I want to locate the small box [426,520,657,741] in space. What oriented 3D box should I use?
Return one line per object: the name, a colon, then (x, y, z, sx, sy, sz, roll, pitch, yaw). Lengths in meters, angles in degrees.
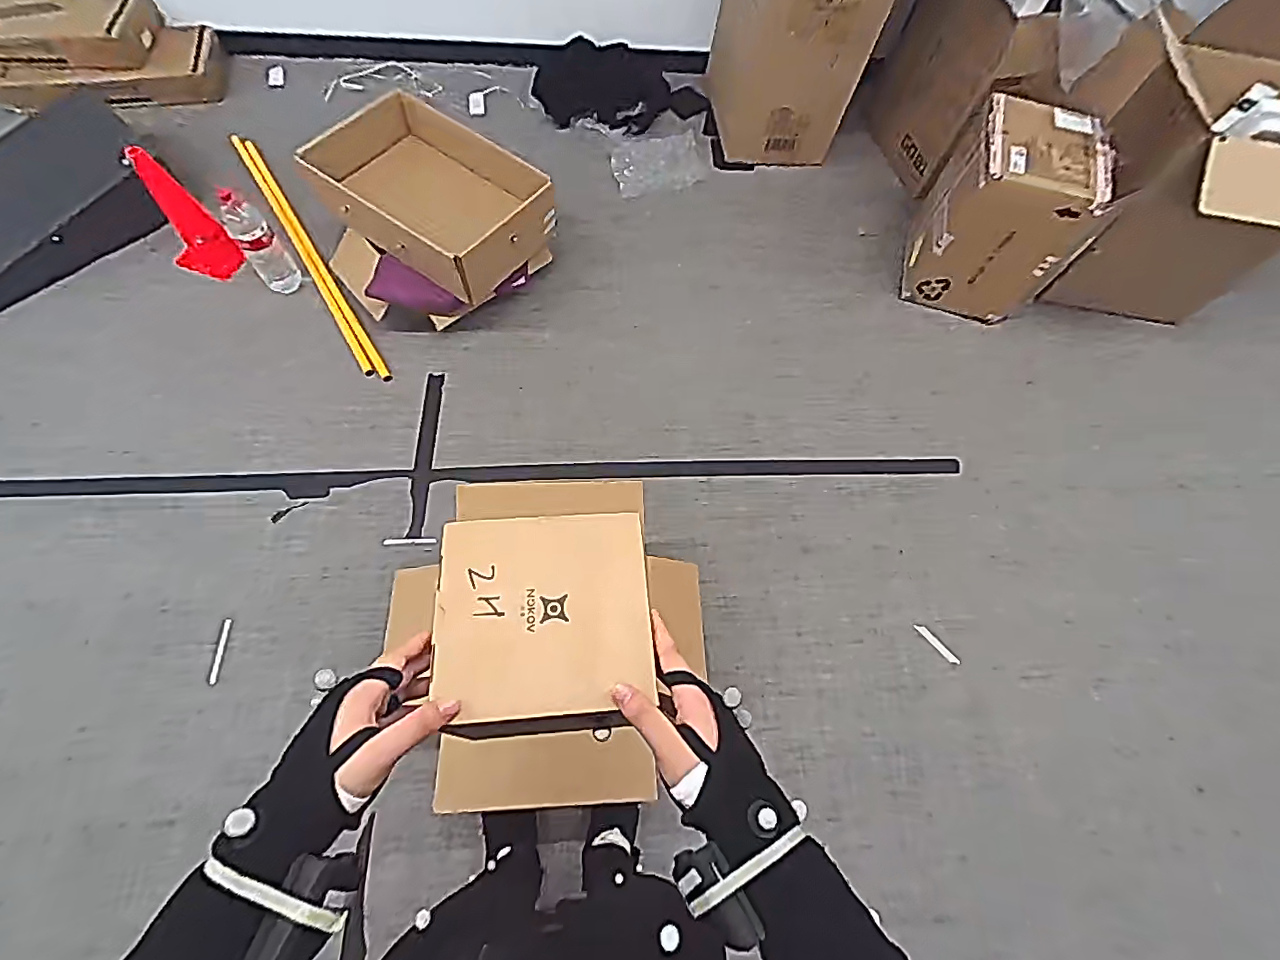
small box: (-0.084, 0.149, 0.516, 0.179, 0.176, 0.168, -3, 61, -5)
